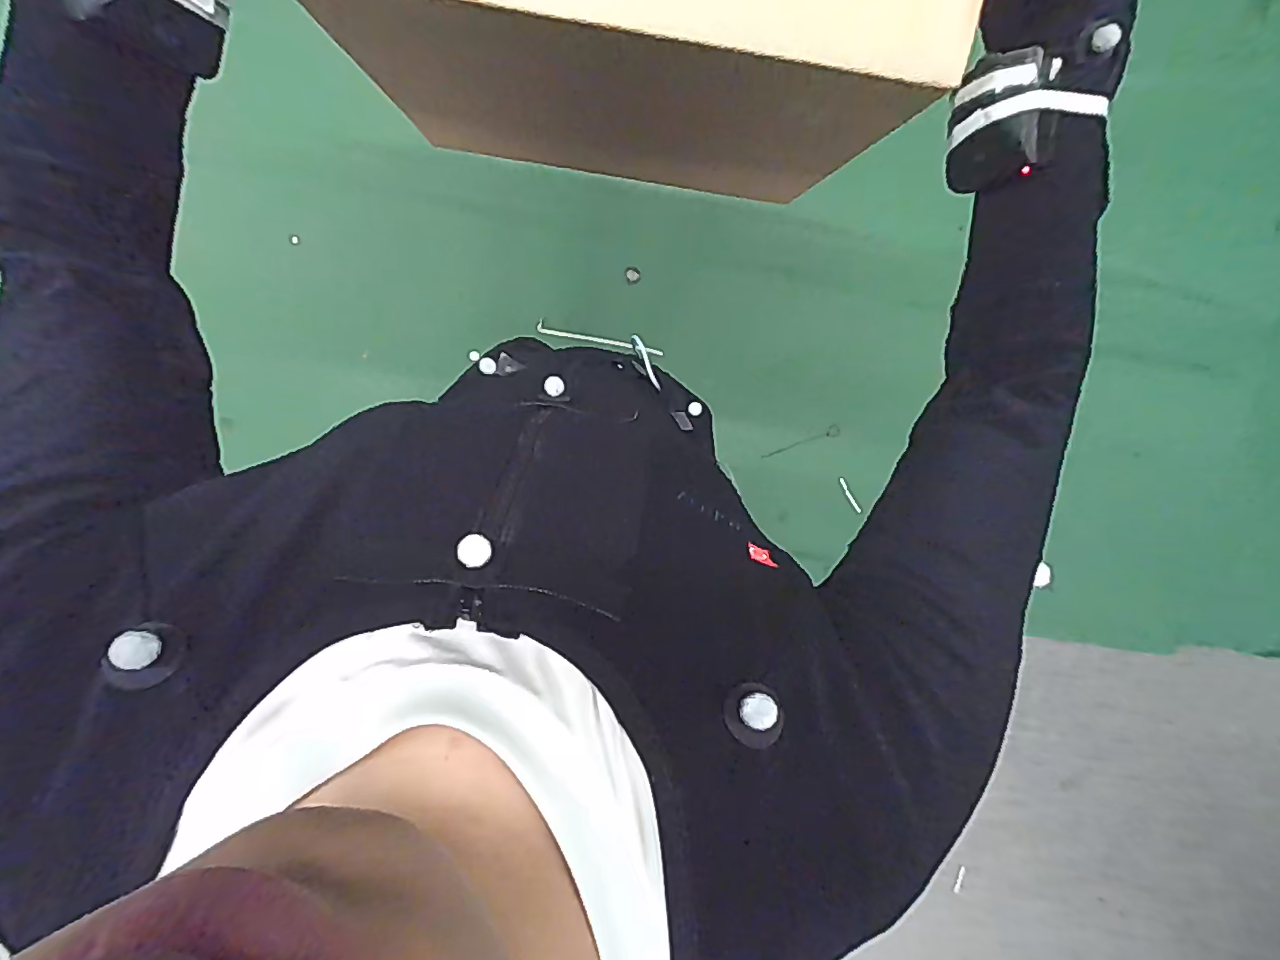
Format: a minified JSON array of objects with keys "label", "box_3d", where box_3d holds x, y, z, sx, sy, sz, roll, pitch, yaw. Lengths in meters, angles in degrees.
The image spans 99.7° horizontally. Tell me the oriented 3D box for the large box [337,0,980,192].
[{"label":"large box","box_3d":[0.008,-0.453,0.420,0.408,0.320,0.320,6,105,-7]}]
